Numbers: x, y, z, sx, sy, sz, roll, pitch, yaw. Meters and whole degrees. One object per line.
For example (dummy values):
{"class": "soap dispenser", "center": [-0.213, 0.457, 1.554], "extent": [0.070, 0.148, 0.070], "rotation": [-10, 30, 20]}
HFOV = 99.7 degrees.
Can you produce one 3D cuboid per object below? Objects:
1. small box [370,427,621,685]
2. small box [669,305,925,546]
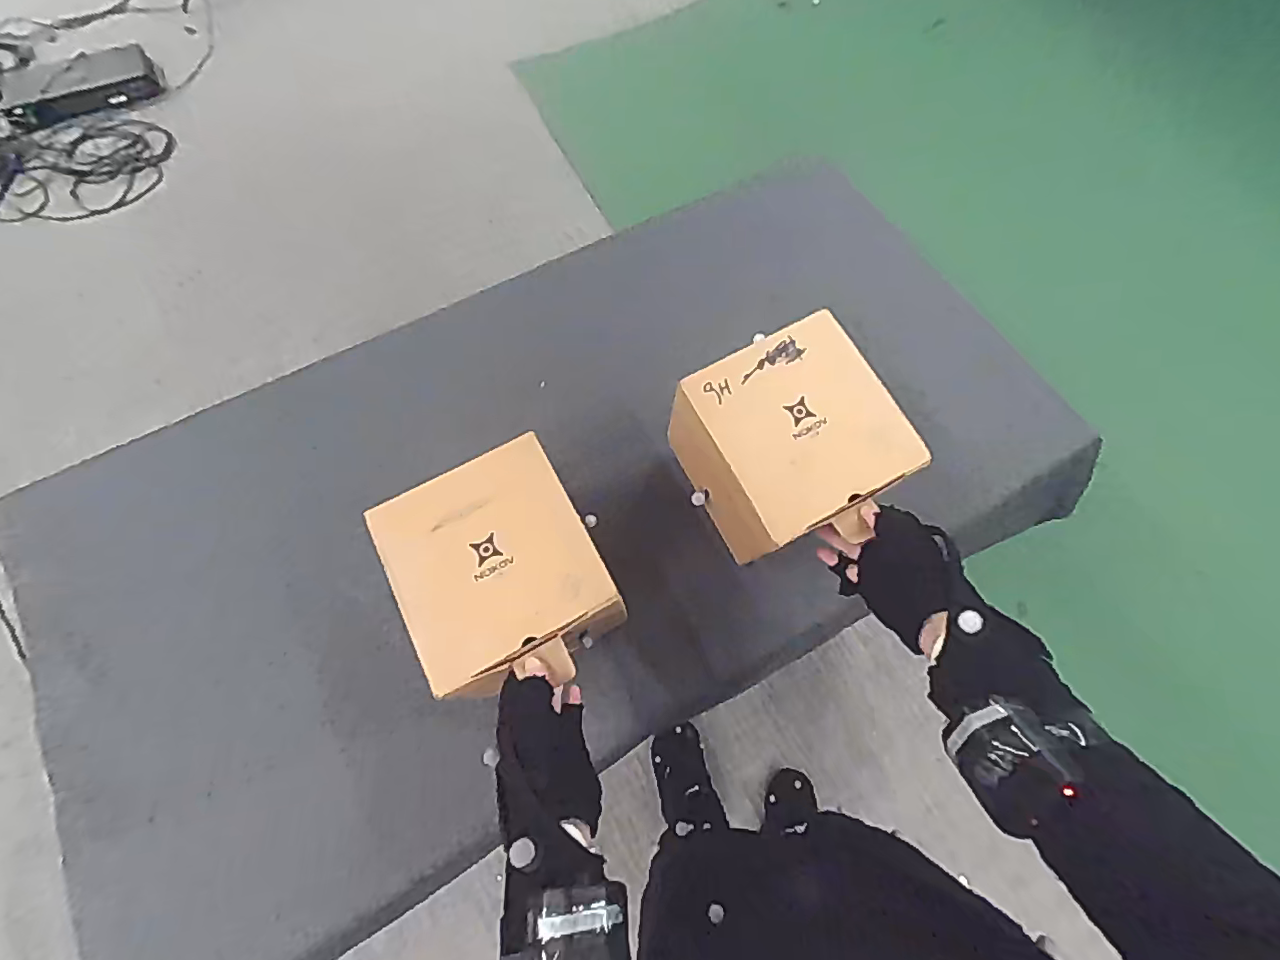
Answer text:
{"class": "small box", "center": [-0.128, 0.083, 0.540], "extent": [0.168, 0.176, 0.179], "rotation": [-28, 71, -10]}
{"class": "small box", "center": [0.145, -0.041, 0.569], "extent": [0.168, 0.176, 0.179], "rotation": [-28, 80, -9]}
